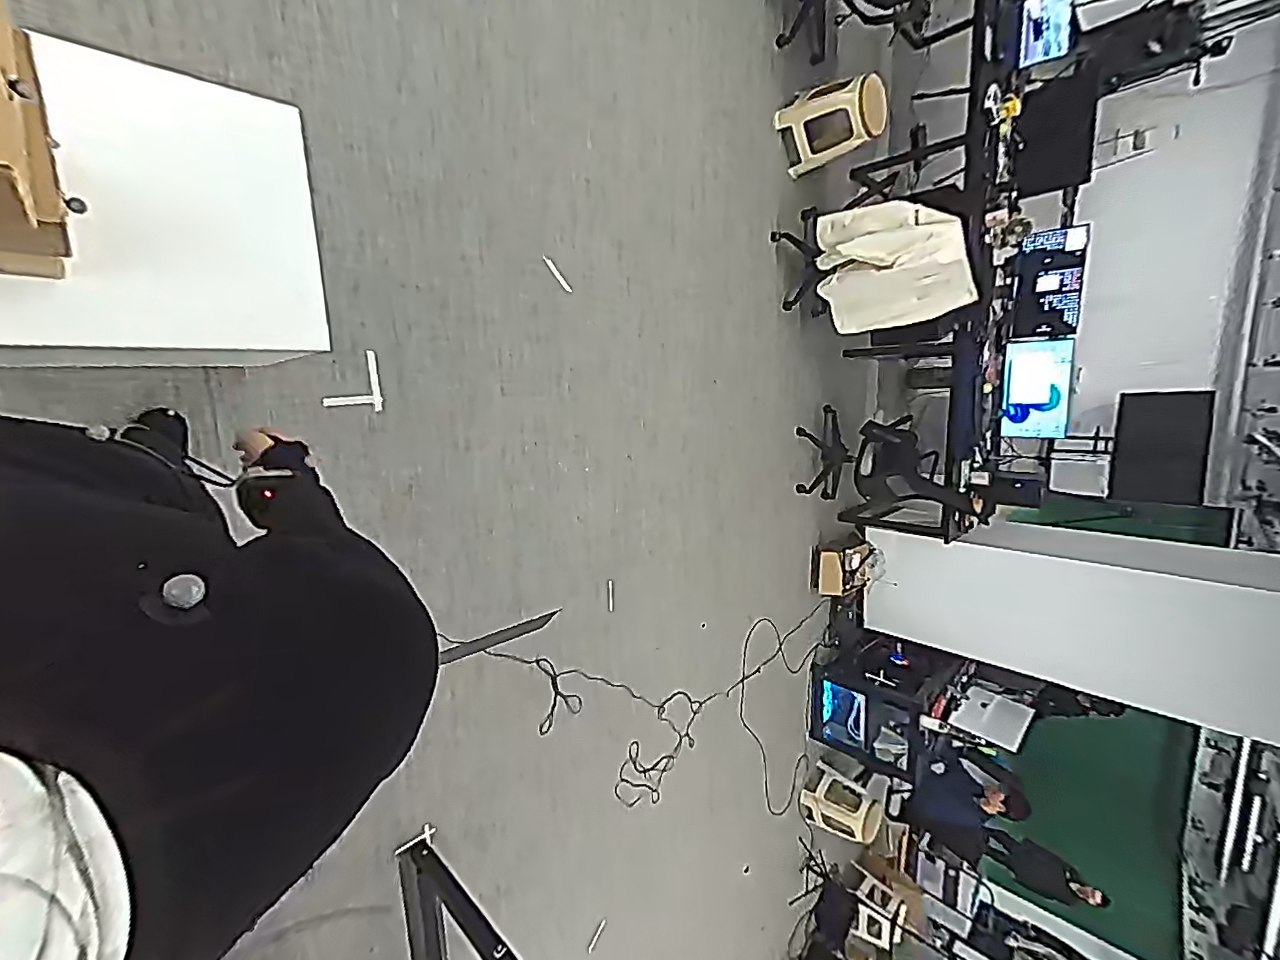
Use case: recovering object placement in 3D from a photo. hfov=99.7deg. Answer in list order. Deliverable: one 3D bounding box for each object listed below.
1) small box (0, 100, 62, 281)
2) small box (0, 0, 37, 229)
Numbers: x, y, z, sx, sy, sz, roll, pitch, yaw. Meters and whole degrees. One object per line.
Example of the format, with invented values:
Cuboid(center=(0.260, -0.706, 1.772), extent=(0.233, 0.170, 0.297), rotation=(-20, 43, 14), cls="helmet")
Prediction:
Cuboid(center=(-0.783, -0.331, 0.607), extent=(0.168, 0.176, 0.179), rotation=(-11, 103, -45), cls="small box")
Cuboid(center=(-0.553, -0.296, 0.374), extent=(0.168, 0.176, 0.179), rotation=(-7, 99, -45), cls="small box")
